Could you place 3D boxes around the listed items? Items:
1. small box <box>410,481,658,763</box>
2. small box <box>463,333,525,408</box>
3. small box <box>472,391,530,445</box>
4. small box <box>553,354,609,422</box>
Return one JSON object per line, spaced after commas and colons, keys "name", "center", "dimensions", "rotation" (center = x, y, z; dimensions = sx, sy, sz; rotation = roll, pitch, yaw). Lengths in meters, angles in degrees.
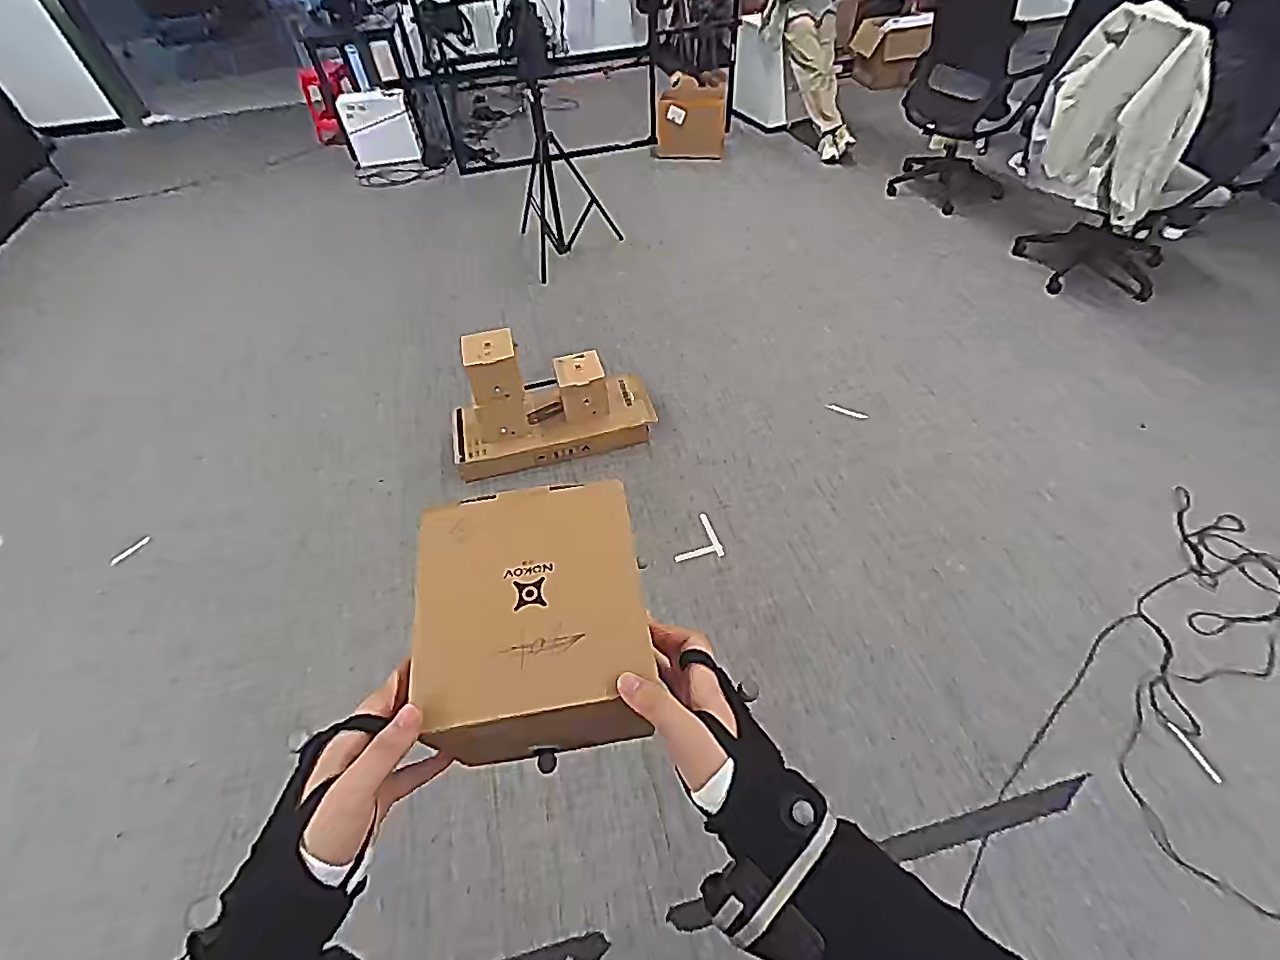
{"name": "small box", "center": [-0.082, 0.126, 0.469], "dimensions": [0.168, 0.176, 0.179], "rotation": [-8, 56, -5]}
{"name": "small box", "center": [-0.493, -0.370, 1.833], "dimensions": [0.168, 0.176, 0.179], "rotation": [-13, 50, -7]}
{"name": "small box", "center": [-0.502, -0.253, 1.951], "dimensions": [0.168, 0.176, 0.179], "rotation": [-14, 51, -8]}
{"name": "small box", "center": [-0.215, -0.331, 1.996], "dimensions": [0.168, 0.176, 0.179], "rotation": [-14, 50, -8]}
